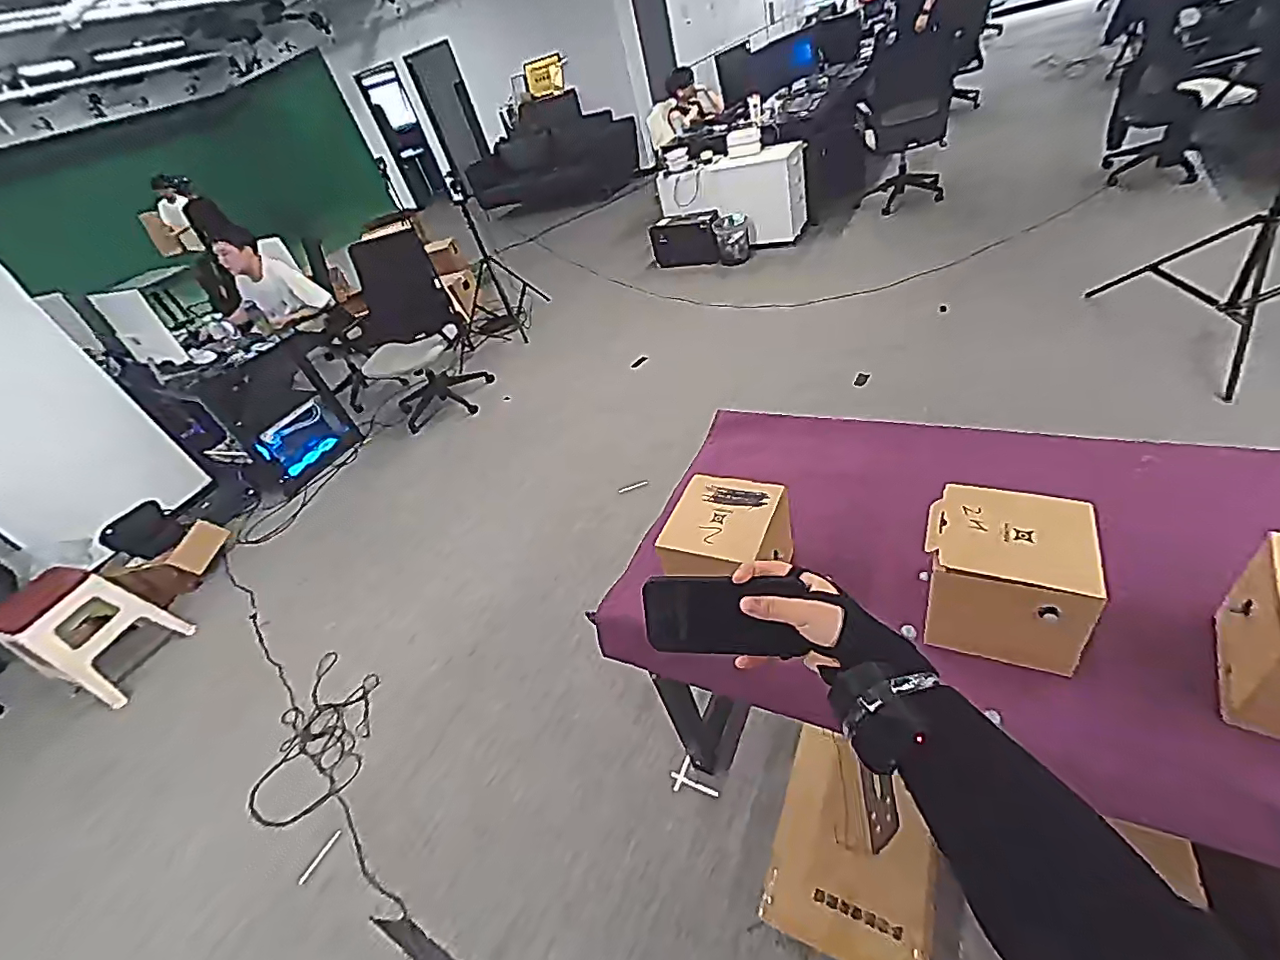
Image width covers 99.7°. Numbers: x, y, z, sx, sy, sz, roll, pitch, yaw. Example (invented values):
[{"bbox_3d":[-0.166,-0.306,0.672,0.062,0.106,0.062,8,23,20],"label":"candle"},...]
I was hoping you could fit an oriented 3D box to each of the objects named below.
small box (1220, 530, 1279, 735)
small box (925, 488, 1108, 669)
[{"bbox_3d":[0.772,0.184,0.580,0.179,0.176,0.168,13,48,34],"label":"small box"},{"bbox_3d":[0.507,0.135,0.748,0.179,0.176,0.168,7,43,29],"label":"small box"}]
